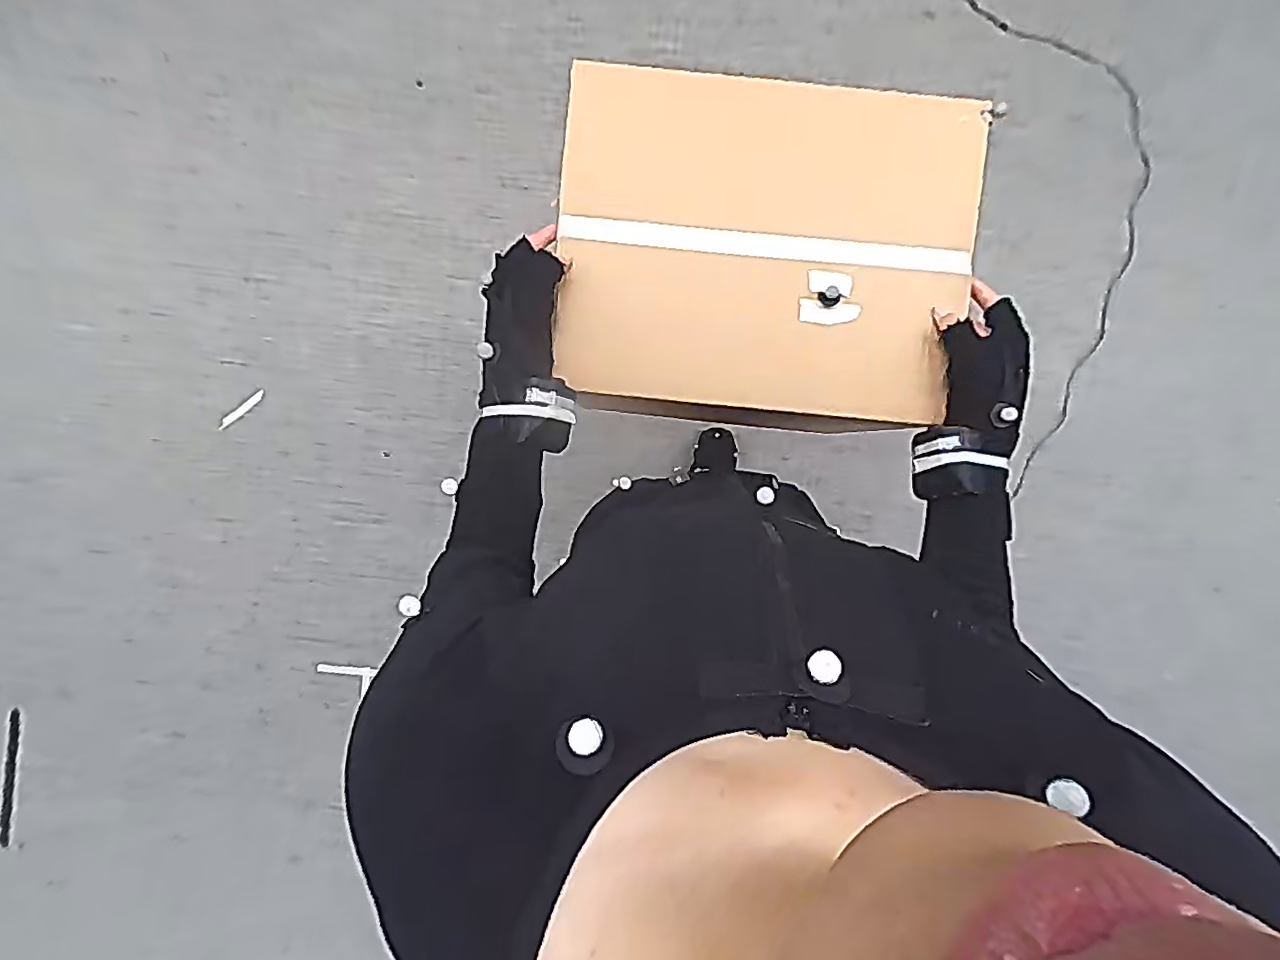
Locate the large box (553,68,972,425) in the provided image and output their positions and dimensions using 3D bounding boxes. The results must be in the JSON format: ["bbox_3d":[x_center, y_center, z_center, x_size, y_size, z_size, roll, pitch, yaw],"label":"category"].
[{"bbox_3d":[0.118,-0.246,0.689,0.408,0.320,0.320,6,94,0],"label":"large box"}]
